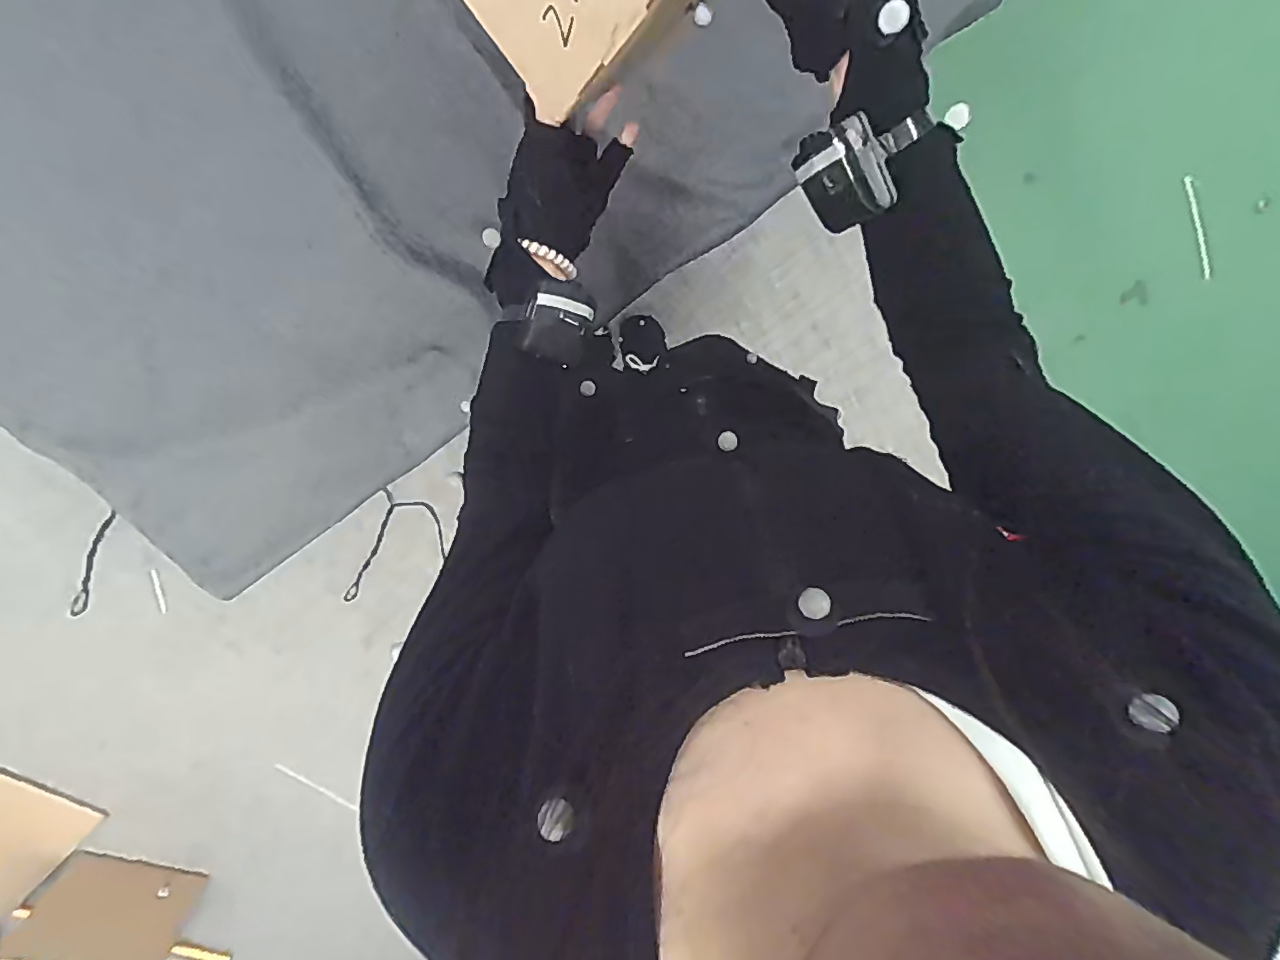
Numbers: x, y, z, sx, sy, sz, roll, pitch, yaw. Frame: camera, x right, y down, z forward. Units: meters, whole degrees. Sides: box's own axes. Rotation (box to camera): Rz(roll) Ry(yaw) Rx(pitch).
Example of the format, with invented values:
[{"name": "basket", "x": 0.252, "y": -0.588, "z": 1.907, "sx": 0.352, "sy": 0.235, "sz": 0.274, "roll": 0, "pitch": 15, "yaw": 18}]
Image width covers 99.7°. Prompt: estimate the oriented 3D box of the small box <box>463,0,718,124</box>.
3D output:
[{"name": "small box", "x": -0.023, "y": -0.387, "z": 0.347, "sx": 0.179, "sy": 0.168, "sz": 0.176, "roll": 48, "pitch": 57, "yaw": -22}]
